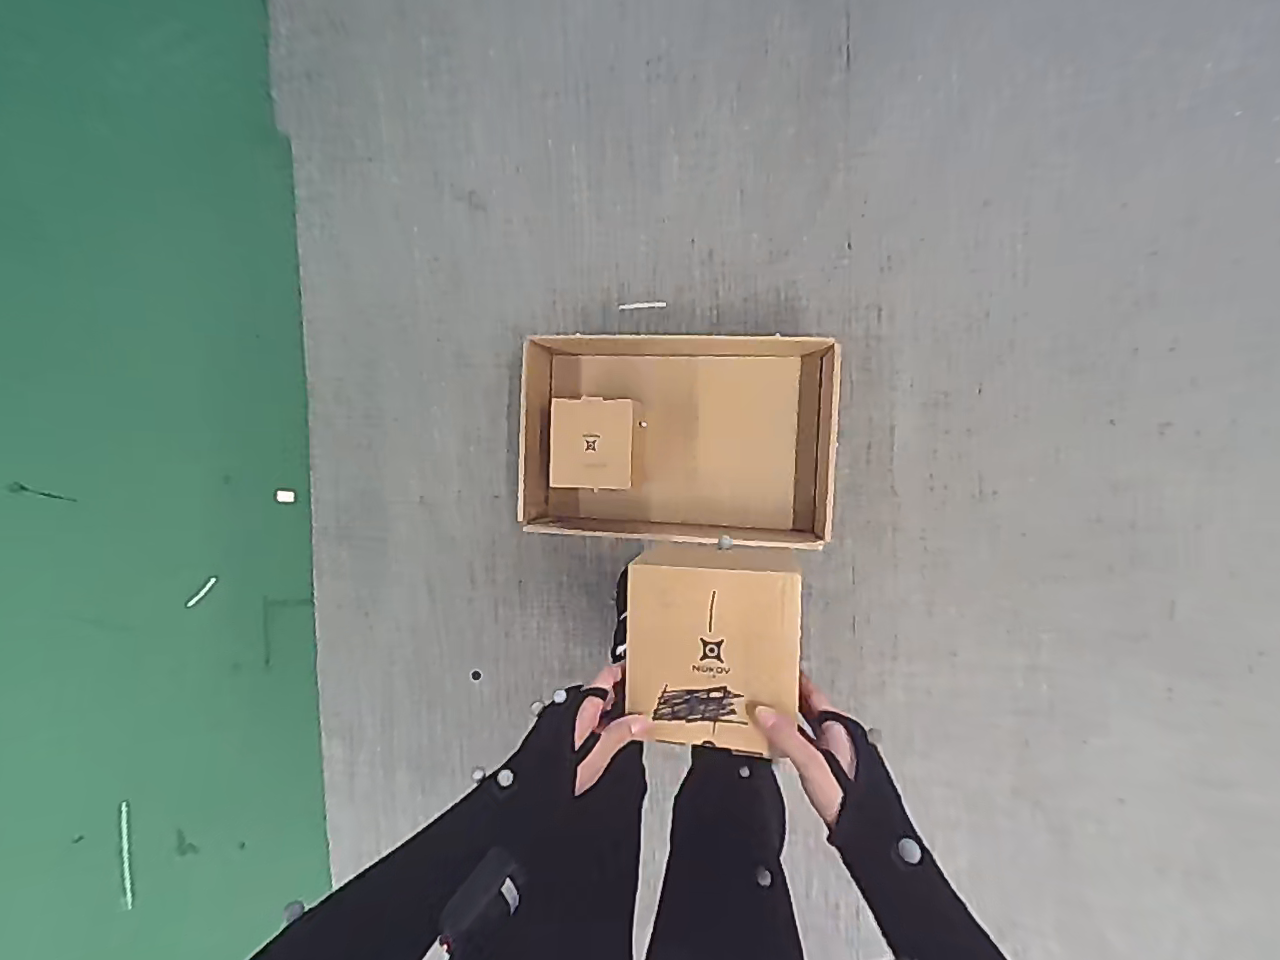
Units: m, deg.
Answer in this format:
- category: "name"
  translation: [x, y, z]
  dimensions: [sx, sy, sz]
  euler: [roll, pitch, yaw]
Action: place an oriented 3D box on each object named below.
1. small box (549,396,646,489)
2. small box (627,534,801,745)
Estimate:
- category: "small box"
  translation: [-0.082, -0.075, 1.121]
  dimensions: [0.168, 0.176, 0.179]
  euler: [2, 92, 10]
- category: "small box"
  translation: [0.084, 0.157, 0.592]
  dimensions: [0.168, 0.176, 0.179]
  euler: [1, 89, 12]
